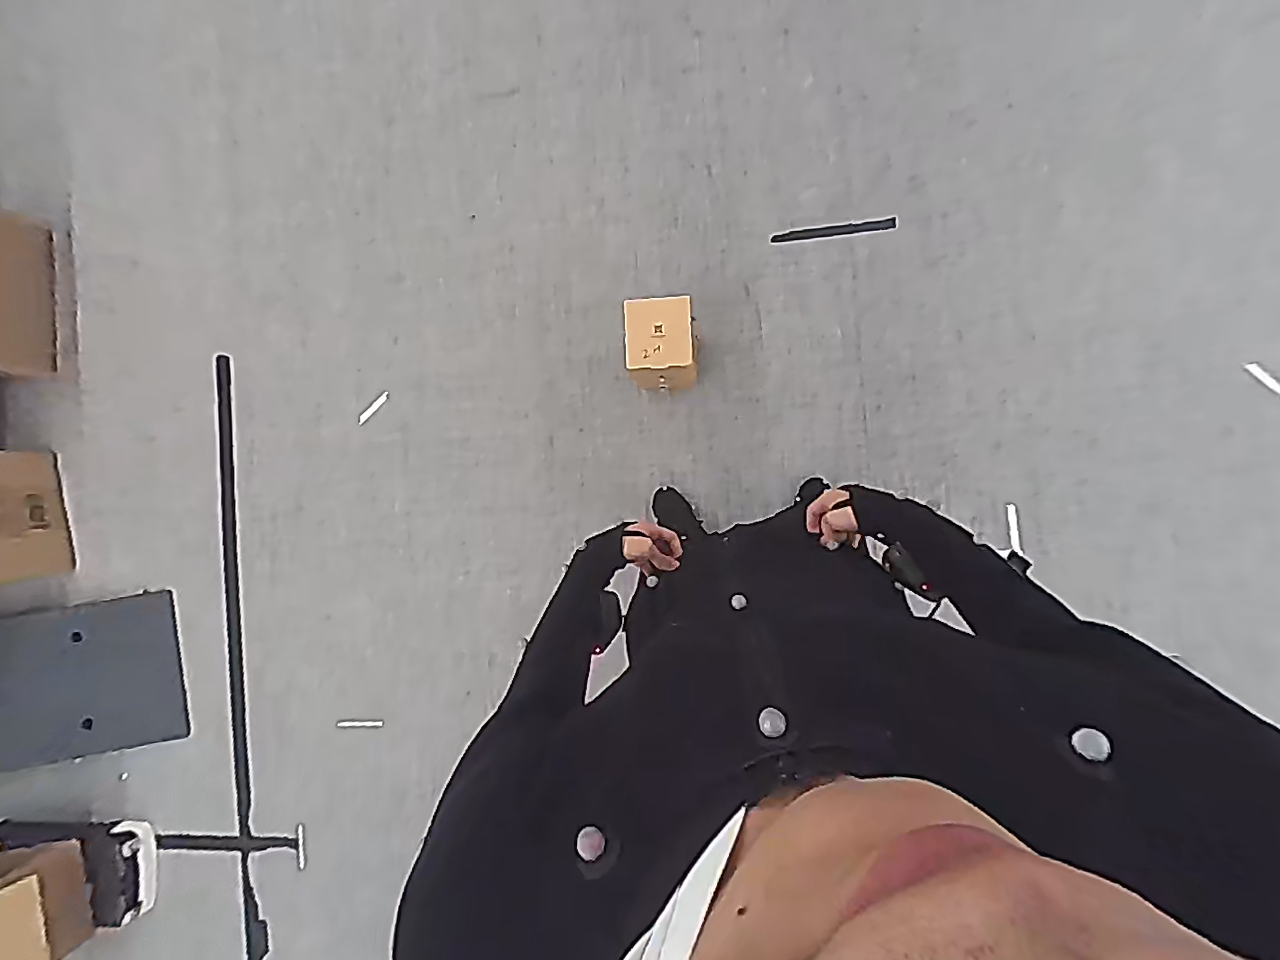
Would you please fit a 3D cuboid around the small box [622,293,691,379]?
[{"bbox_3d":[0.046,-0.367,1.402,0.168,0.176,0.179,-2,90,7],"label":"small box"}]

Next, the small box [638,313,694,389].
[{"bbox_3d":[0.071,-0.368,1.565,0.168,0.176,0.179,-1,89,7],"label":"small box"}]
